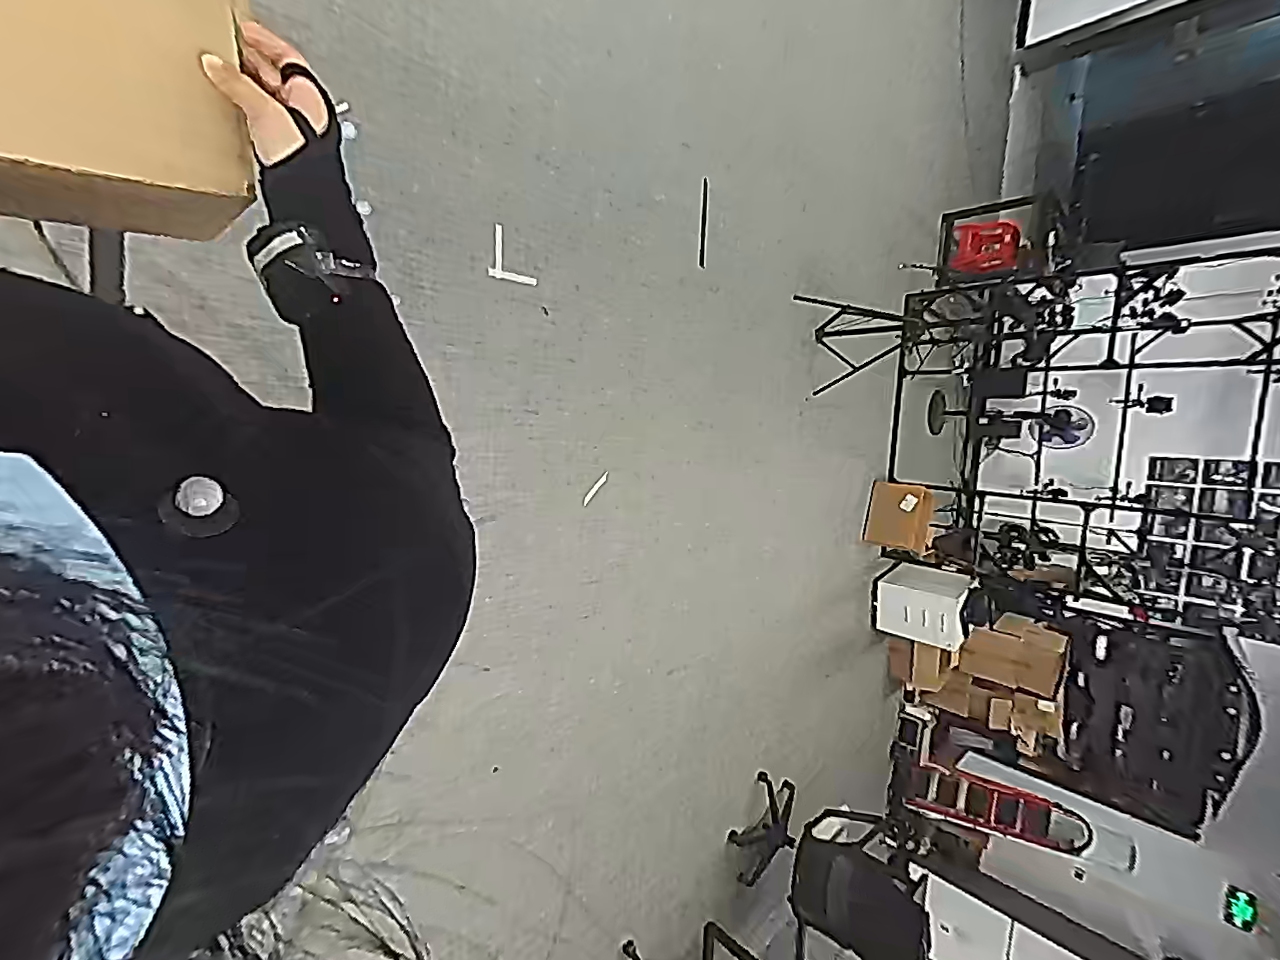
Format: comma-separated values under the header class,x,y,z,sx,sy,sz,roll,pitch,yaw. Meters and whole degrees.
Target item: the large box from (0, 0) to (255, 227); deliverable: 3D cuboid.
class,x,y,z,sx,sy,sz,roll,pitch,yaw
large box,-0.559,-0.390,0.388,0.408,0.320,0.320,-10,108,-41
